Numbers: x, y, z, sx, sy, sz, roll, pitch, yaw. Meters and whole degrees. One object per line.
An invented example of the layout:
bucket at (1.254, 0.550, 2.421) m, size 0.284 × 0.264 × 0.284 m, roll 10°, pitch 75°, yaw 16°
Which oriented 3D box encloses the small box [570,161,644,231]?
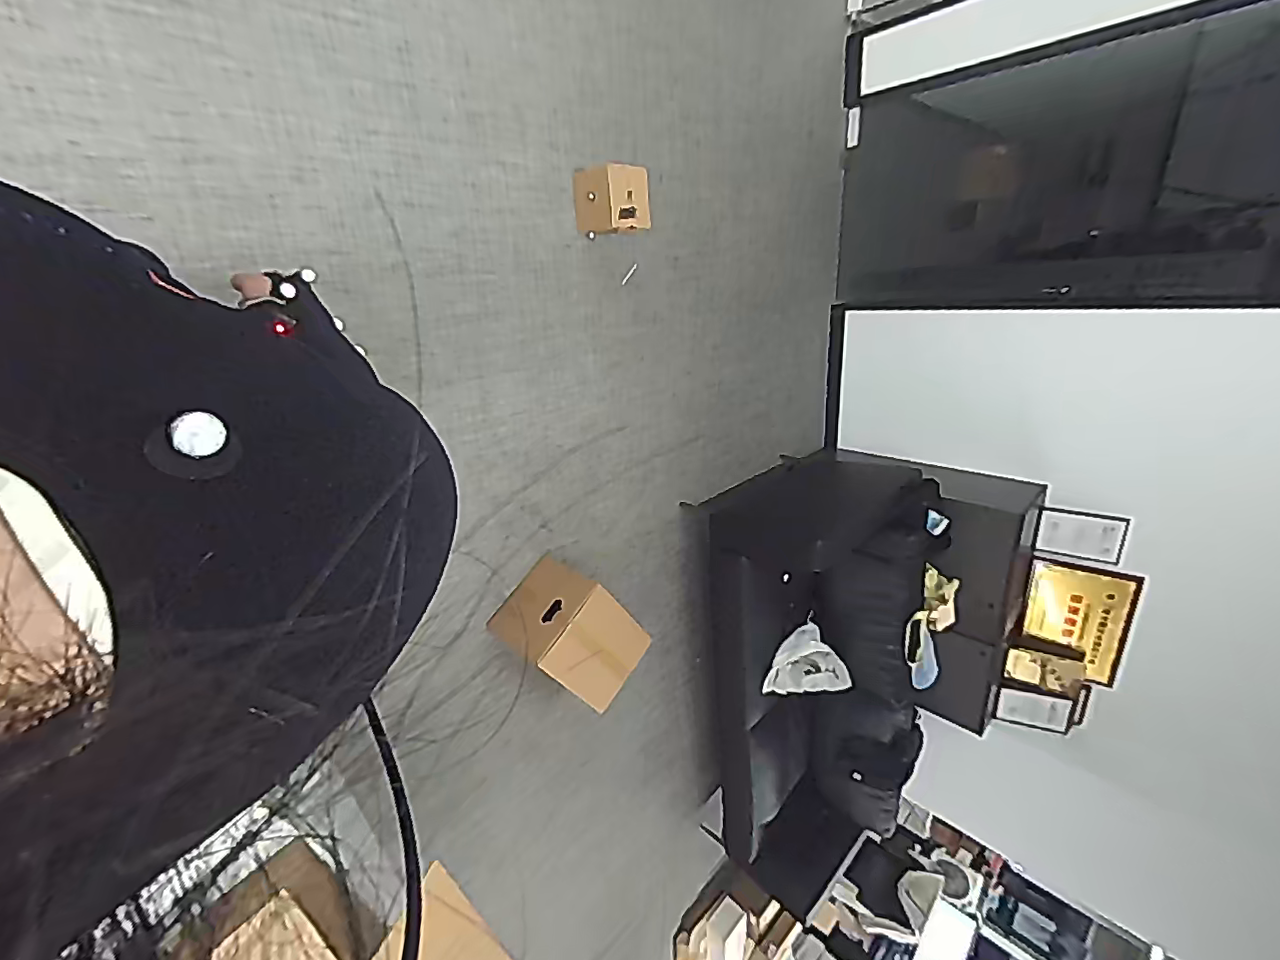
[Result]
small box at (-0.105, -0.893, 1.715) m, size 0.168 × 0.176 × 0.179 m, roll -21°, pitch 117°, yaw -40°
